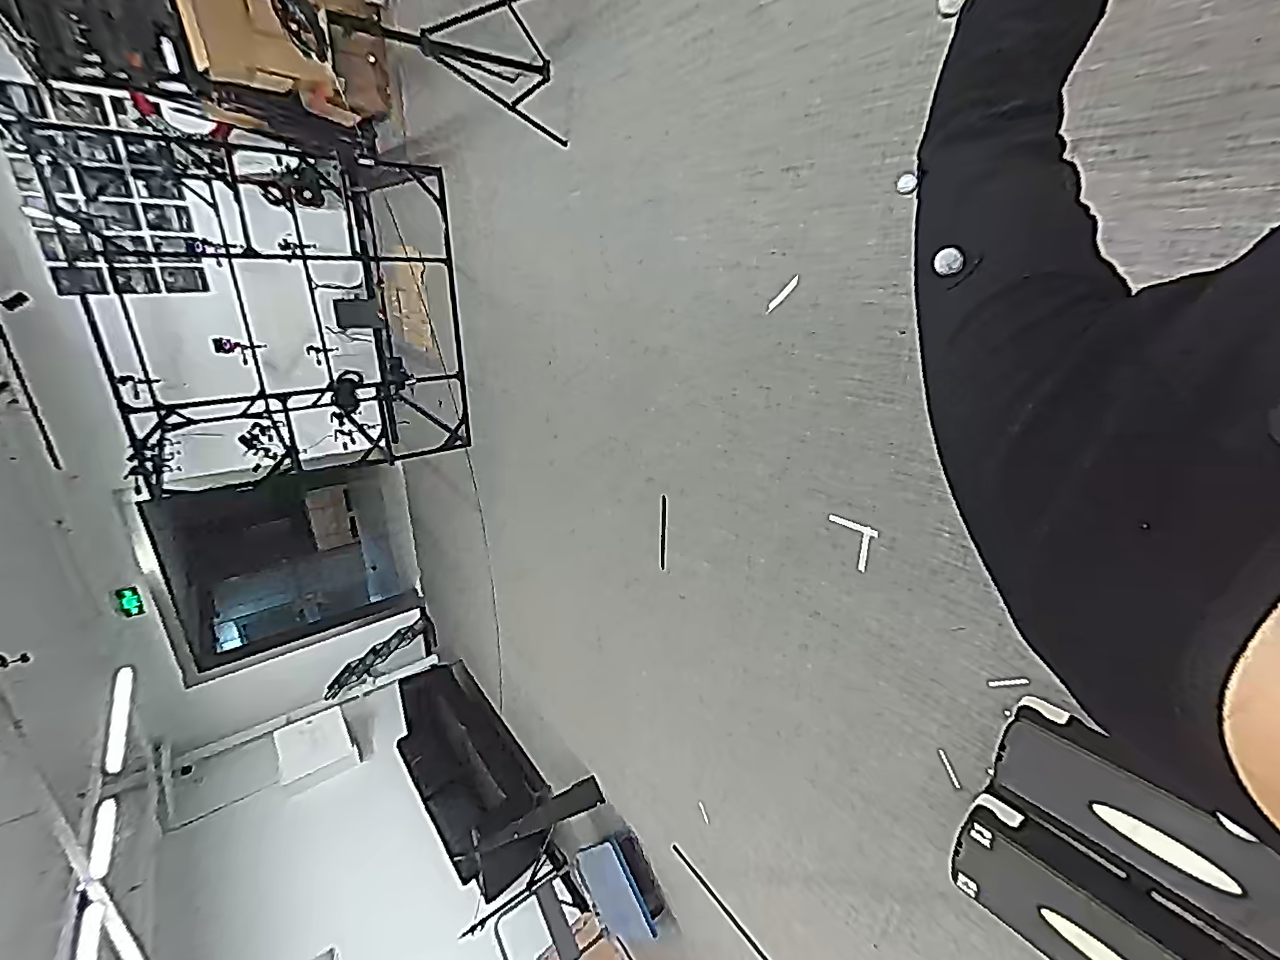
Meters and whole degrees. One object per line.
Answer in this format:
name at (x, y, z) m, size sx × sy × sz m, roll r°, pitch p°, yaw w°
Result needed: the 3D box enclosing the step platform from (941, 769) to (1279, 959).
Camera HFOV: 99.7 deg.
step platform at (1.129, 1.071, 1.333) m, size 0.684 × 0.204 × 0.286 m, roll 25°, pitch 122°, yaw 49°
